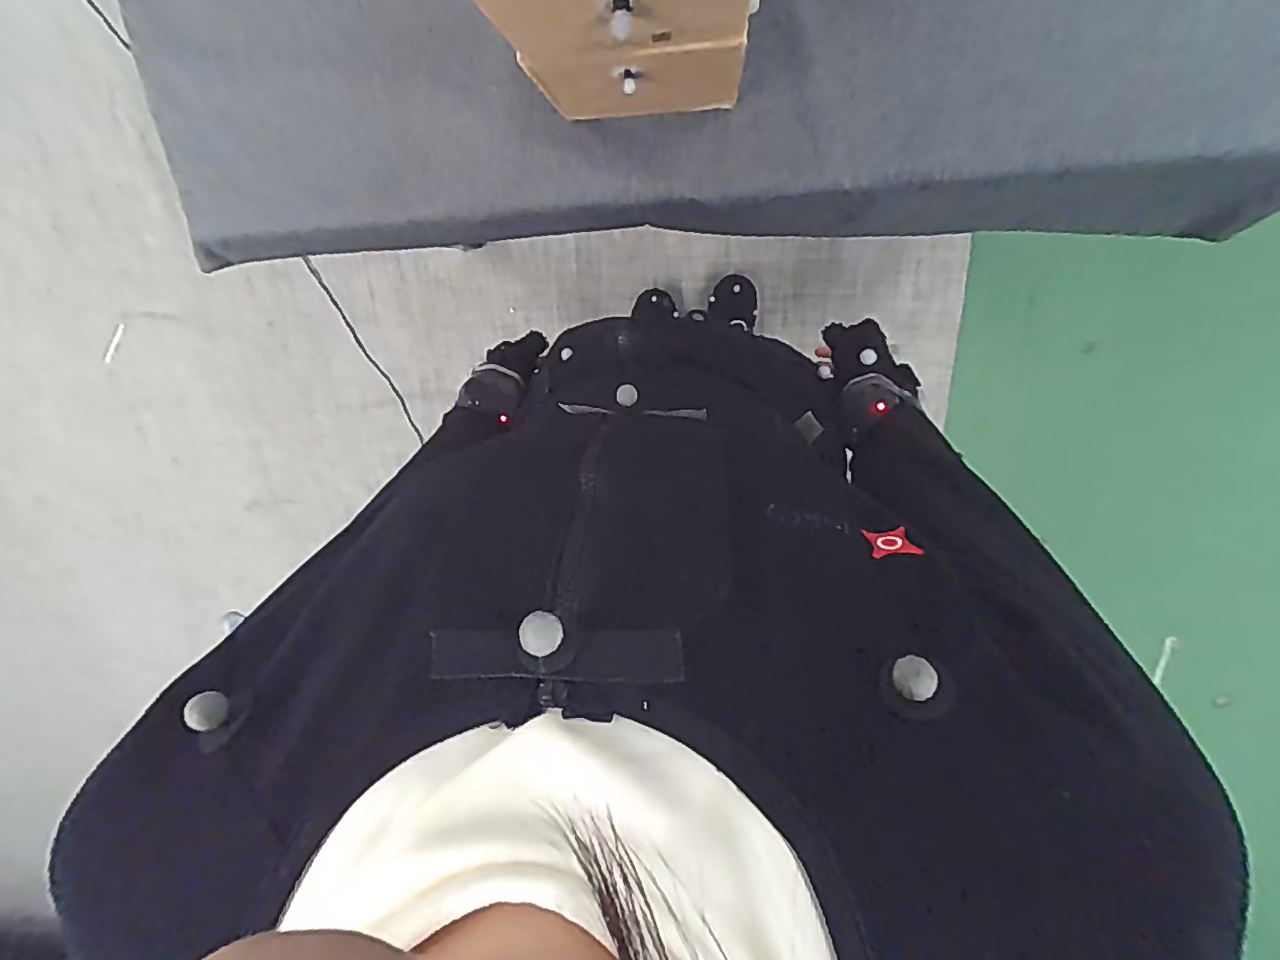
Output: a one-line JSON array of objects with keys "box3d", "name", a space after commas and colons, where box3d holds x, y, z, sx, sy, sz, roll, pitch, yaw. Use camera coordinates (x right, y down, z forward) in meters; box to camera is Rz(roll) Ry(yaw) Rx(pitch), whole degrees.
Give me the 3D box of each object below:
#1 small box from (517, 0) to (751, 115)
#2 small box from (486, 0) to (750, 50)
[{"box3d": [-0.001, -0.424, 0.450, 0.179, 0.176, 0.168, -1, 111, 6], "name": "small box"}, {"box3d": [-0.018, -0.370, 0.297, 0.168, 0.176, 0.179, -2, 111, 8], "name": "small box"}]
